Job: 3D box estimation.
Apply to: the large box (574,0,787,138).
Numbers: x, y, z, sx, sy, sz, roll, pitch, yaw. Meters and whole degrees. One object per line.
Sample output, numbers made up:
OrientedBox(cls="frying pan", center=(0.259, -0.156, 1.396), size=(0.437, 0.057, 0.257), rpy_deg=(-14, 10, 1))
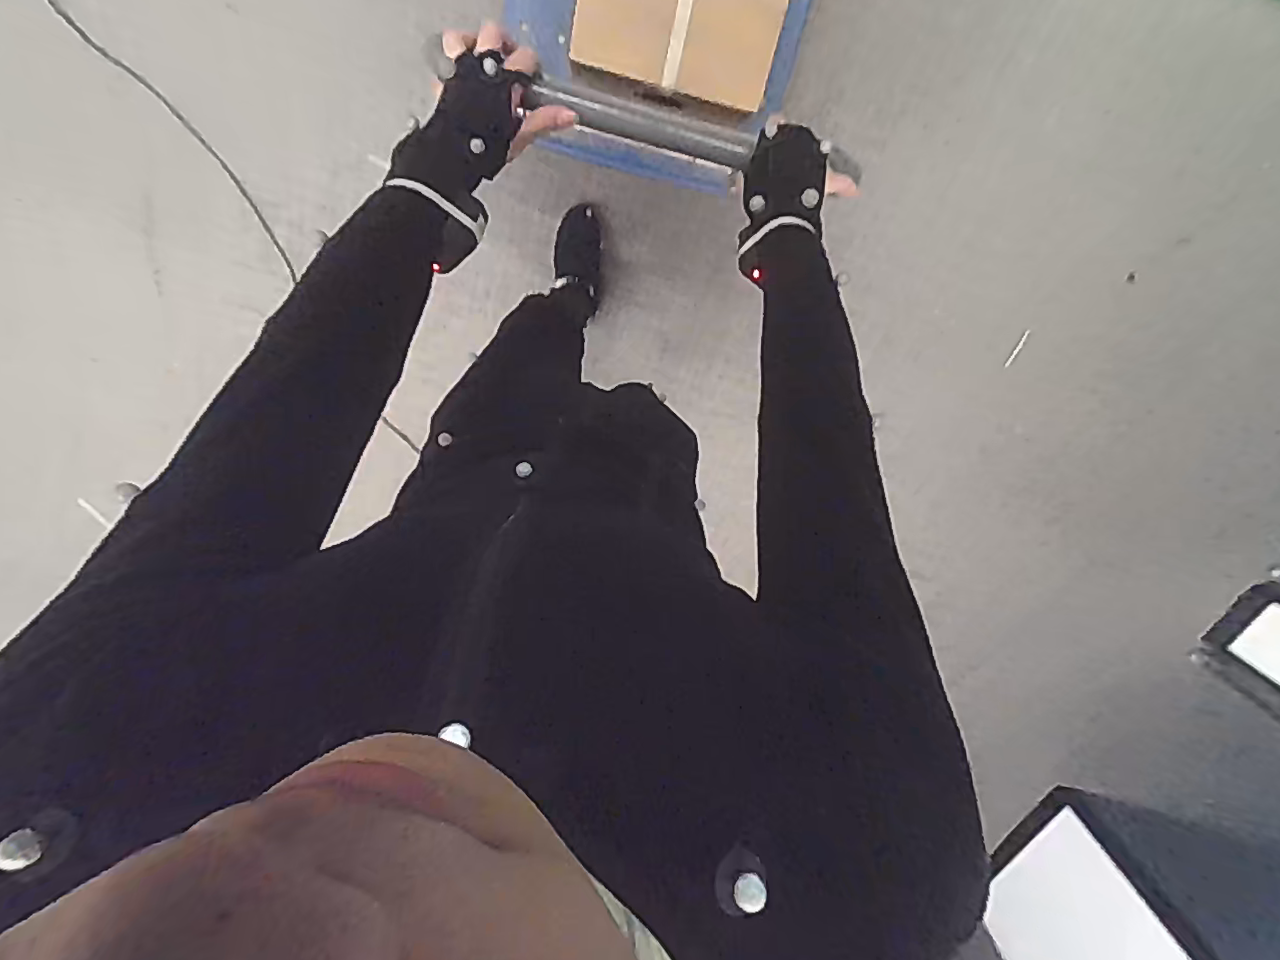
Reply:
OrientedBox(cls="large box", center=(0.076, -0.867, 0.922), size=(0.320, 0.320, 0.408), rpy_deg=(10, 113, -9))
